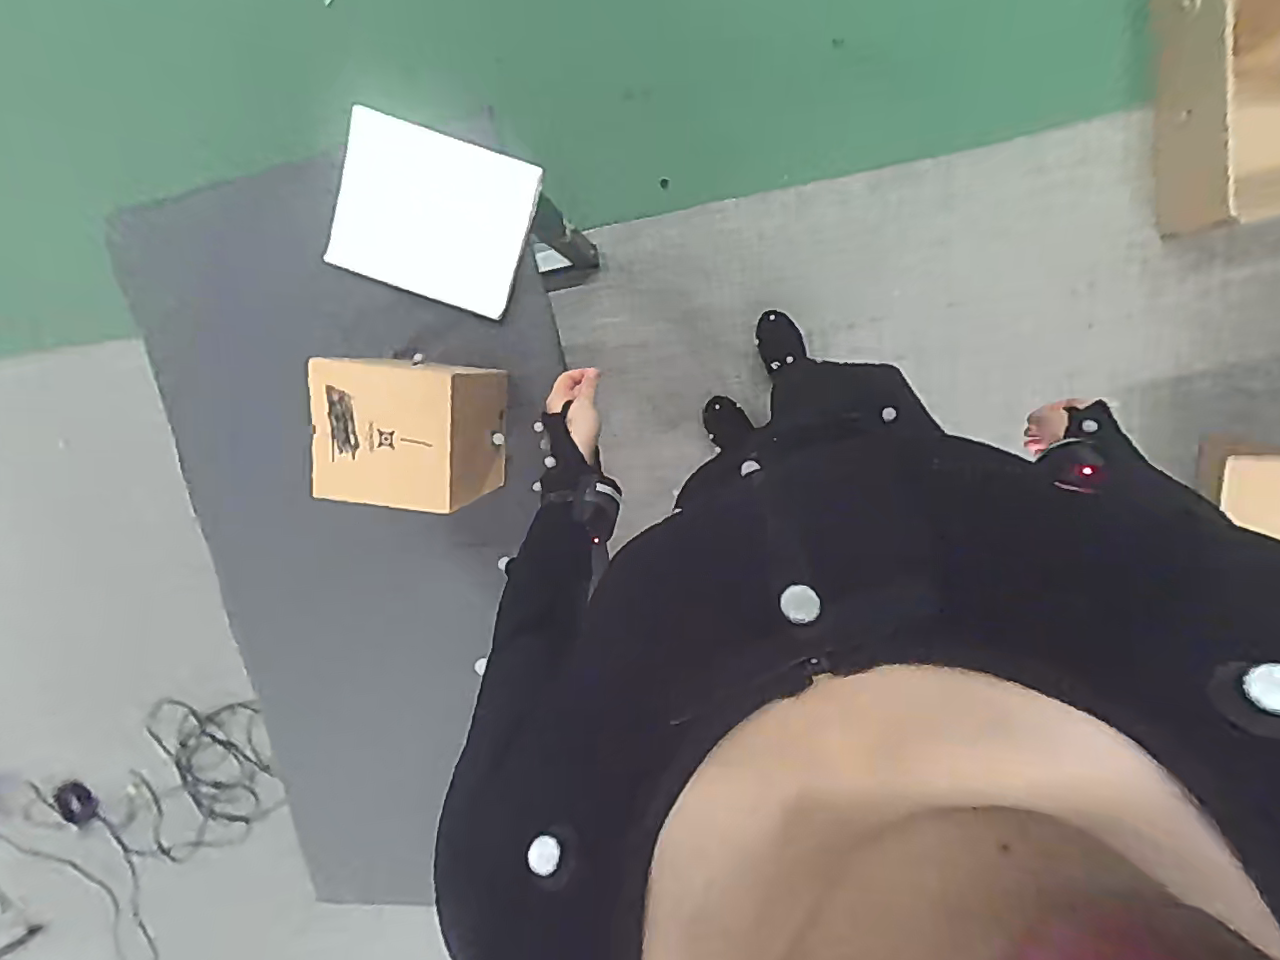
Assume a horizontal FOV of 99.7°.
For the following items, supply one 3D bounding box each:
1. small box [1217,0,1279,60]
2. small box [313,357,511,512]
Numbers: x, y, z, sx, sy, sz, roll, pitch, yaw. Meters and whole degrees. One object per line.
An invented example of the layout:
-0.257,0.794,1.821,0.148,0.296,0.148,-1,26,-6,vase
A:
1.275,-0.936,1.030,0.168,0.176,0.179,2,103,6,small box
-0.284,-0.067,0.702,0.179,0.176,0.168,6,103,6,small box
